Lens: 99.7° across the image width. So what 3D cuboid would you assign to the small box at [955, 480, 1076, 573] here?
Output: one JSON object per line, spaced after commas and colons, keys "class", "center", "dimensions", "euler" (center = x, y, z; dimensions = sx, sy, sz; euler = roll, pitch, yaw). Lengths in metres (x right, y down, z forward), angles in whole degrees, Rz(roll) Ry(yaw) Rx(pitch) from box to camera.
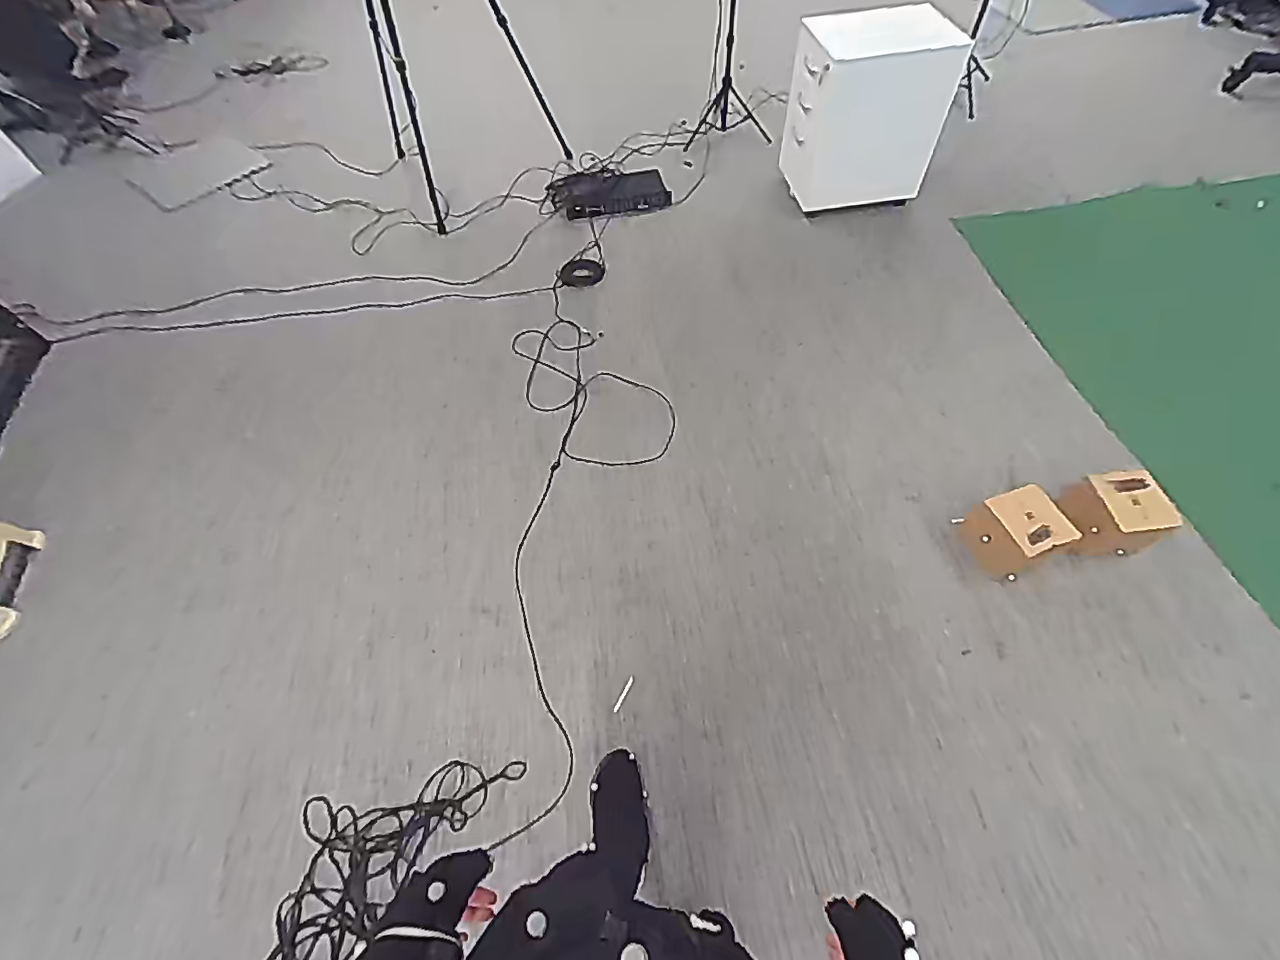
{"class": "small box", "center": [1.001, 0.134, 1.458], "dimensions": [0.168, 0.176, 0.179], "euler": [-17, 58, -8]}
